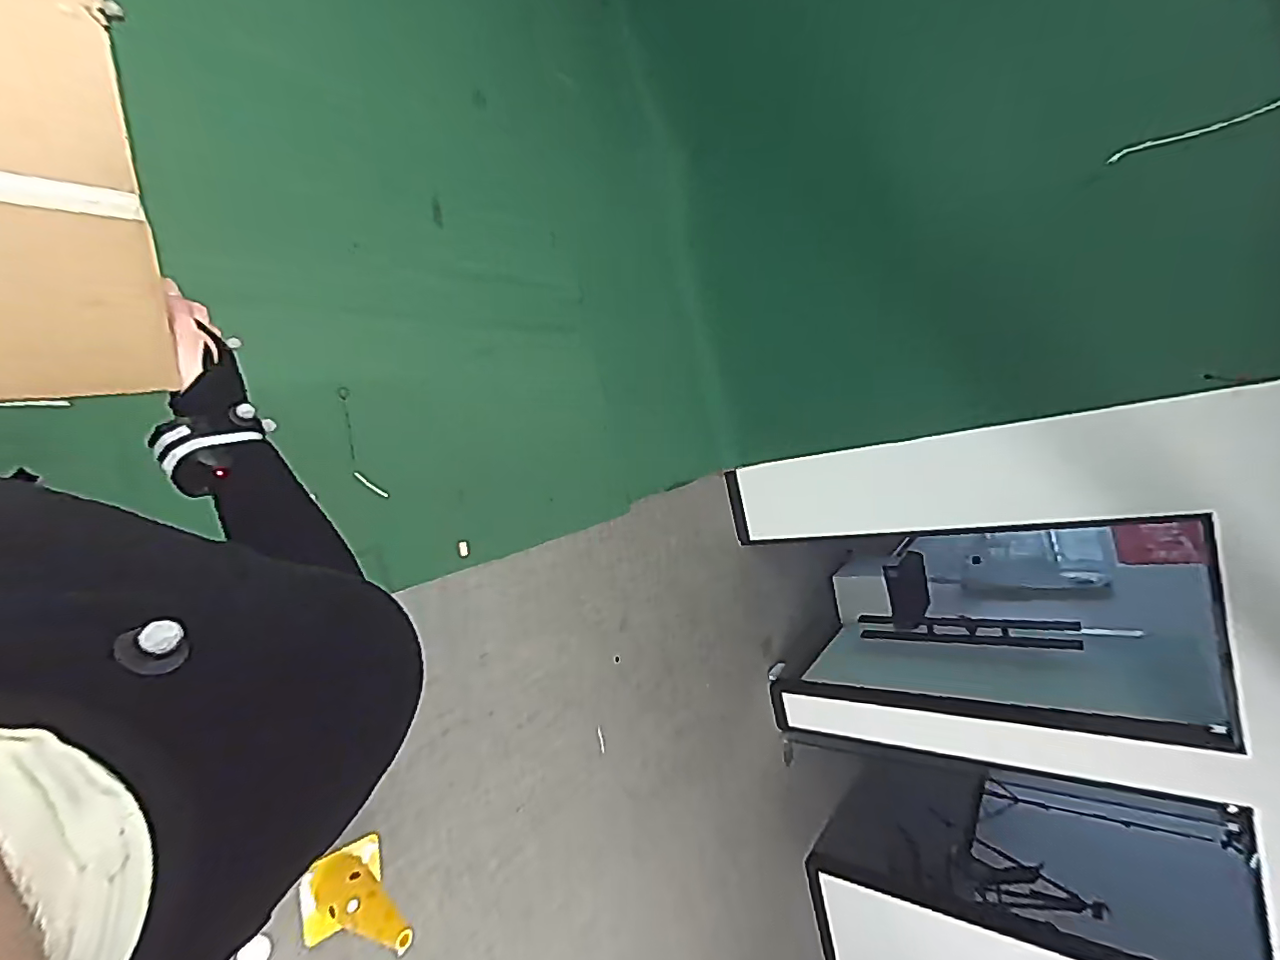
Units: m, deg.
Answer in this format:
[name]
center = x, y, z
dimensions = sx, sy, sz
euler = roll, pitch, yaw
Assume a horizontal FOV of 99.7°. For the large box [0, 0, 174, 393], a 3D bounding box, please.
[large box]
center = -0.675, -0.219, 0.394
dimensions = 0.408, 0.320, 0.320
euler = -21, 116, -53
